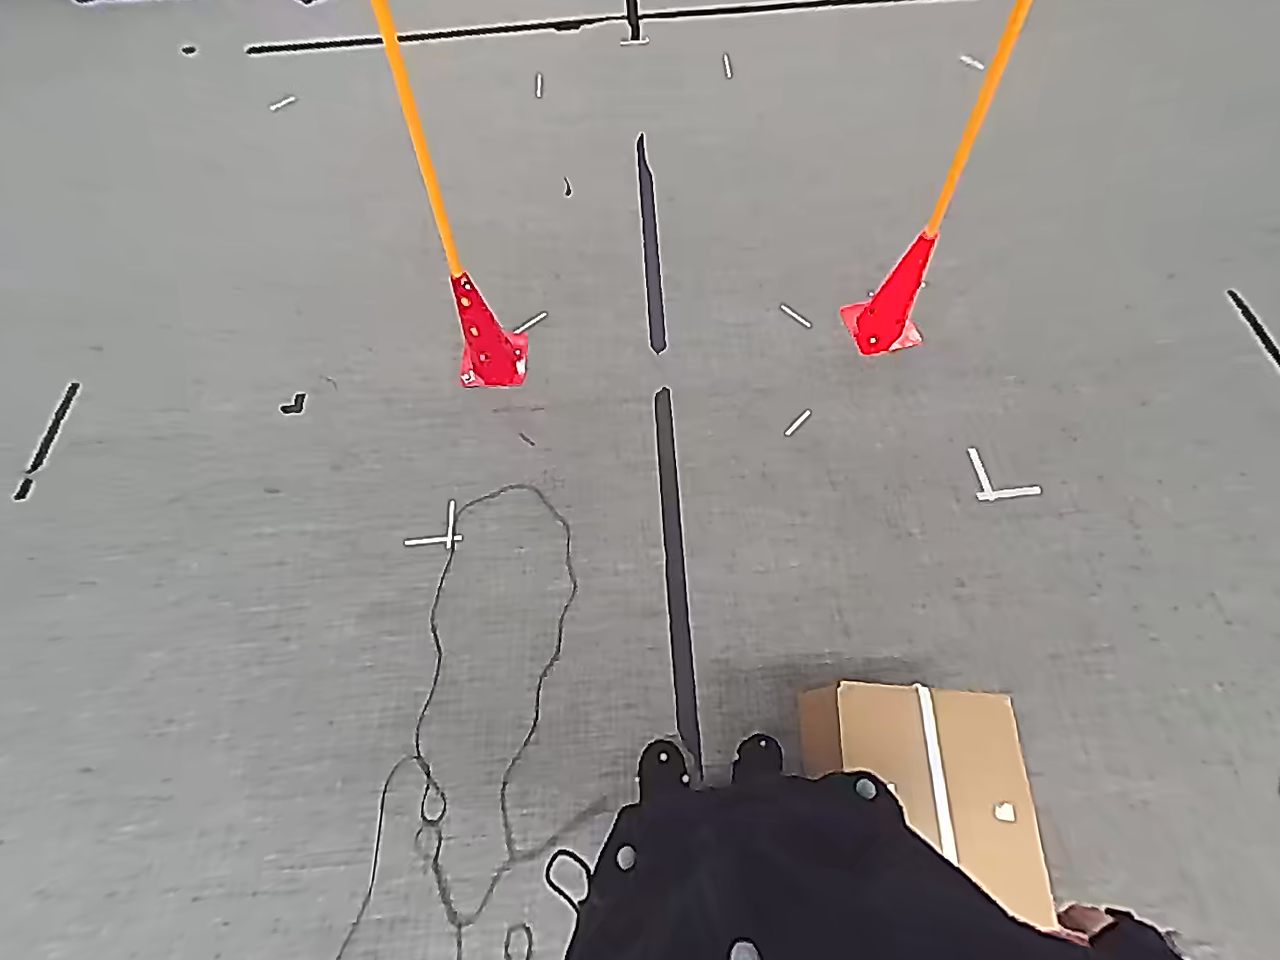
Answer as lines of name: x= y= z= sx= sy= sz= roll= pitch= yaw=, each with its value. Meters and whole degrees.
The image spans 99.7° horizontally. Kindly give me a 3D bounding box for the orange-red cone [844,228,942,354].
orange-red cone: x=0.750 y=-0.552 z=1.526 sx=0.199 sy=0.360 sz=0.198 roll=-11 pitch=66 yaw=-4
